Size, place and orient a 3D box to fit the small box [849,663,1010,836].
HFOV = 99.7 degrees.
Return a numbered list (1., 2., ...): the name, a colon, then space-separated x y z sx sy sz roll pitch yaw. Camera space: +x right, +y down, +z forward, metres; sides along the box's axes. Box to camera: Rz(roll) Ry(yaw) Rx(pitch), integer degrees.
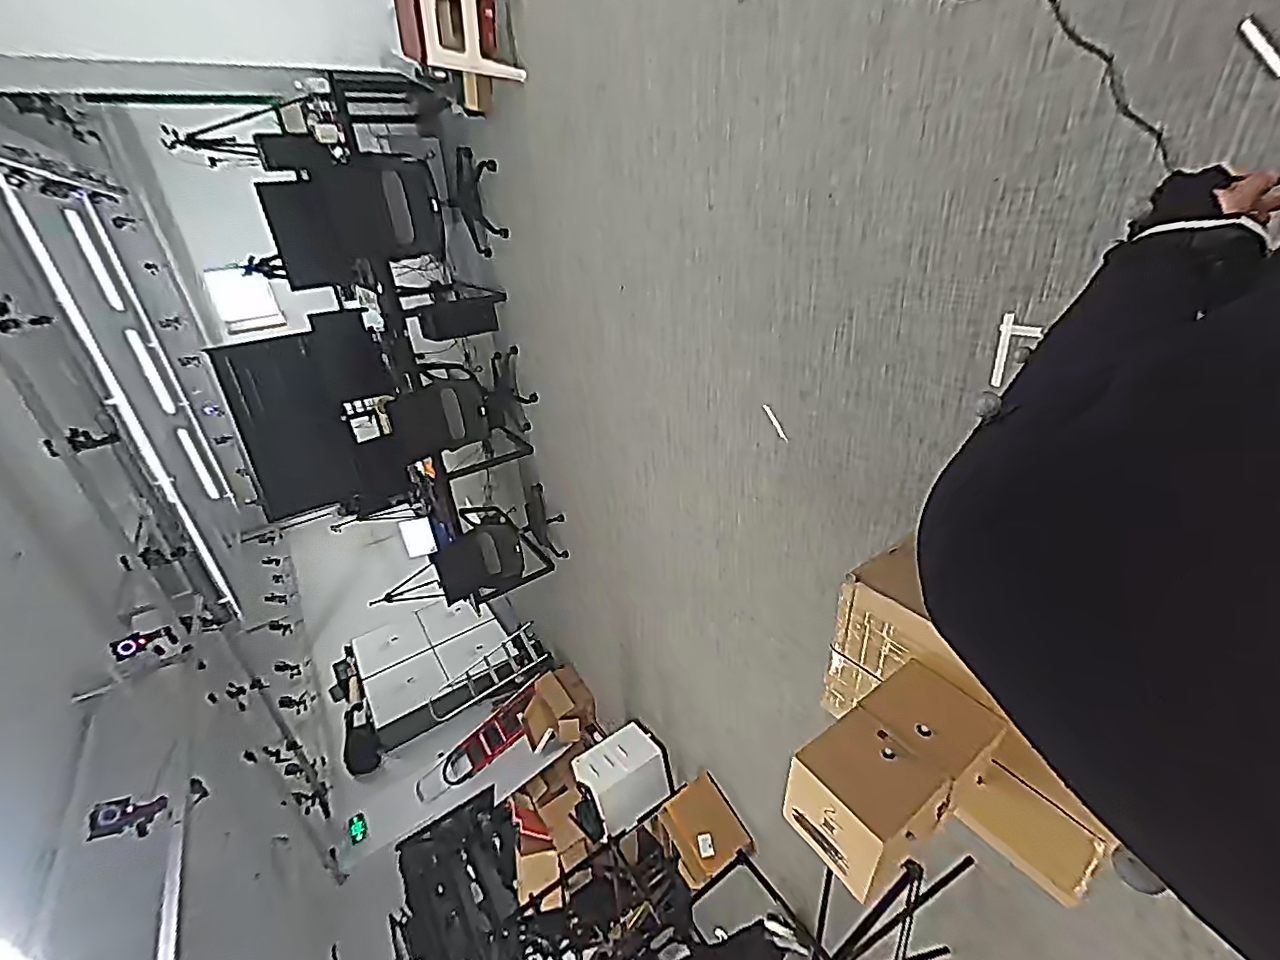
1. small box: 0.501 0.457 0.945 0.179 0.176 0.168 36 137 47
